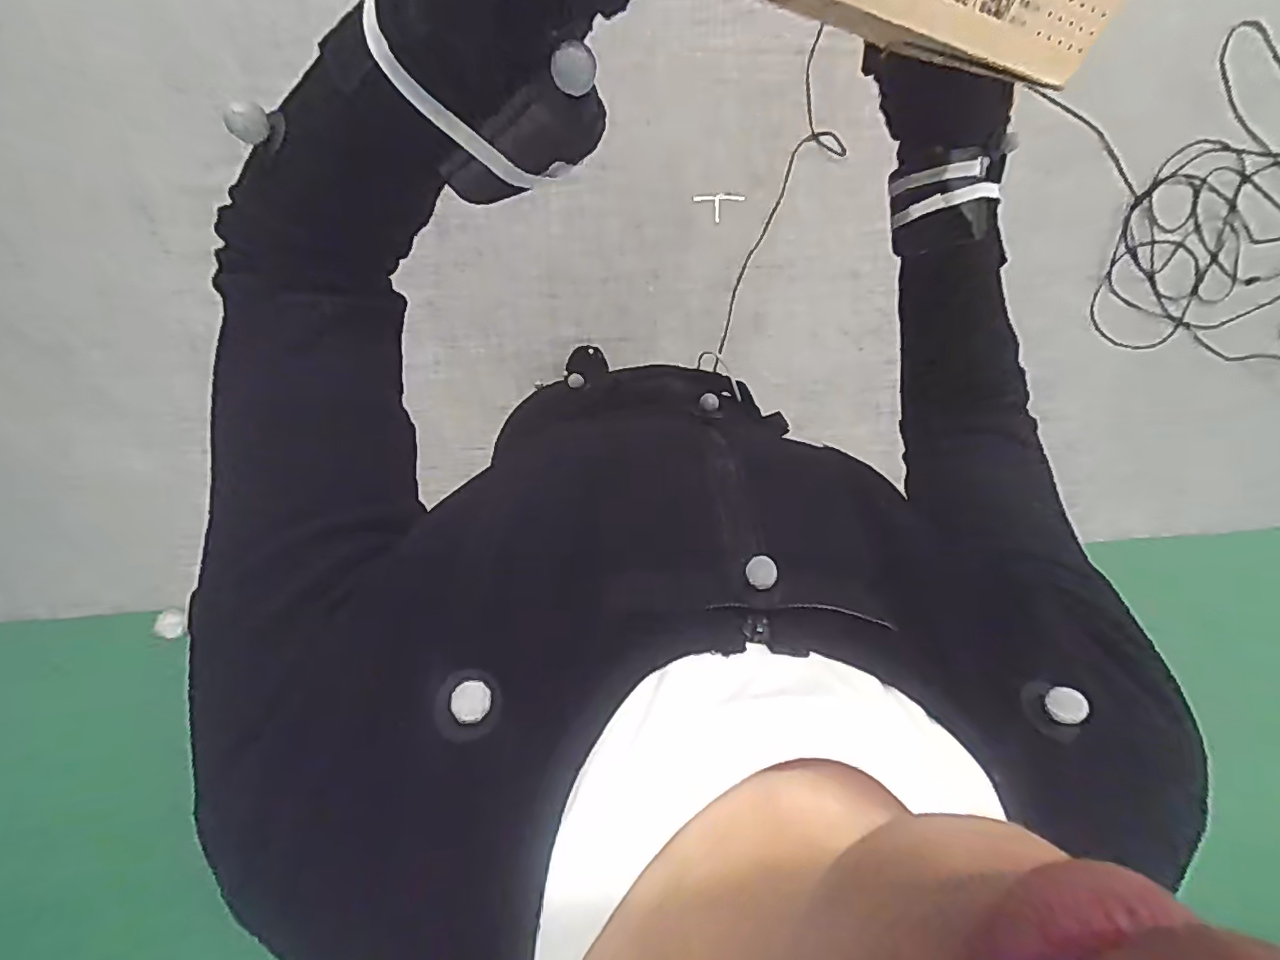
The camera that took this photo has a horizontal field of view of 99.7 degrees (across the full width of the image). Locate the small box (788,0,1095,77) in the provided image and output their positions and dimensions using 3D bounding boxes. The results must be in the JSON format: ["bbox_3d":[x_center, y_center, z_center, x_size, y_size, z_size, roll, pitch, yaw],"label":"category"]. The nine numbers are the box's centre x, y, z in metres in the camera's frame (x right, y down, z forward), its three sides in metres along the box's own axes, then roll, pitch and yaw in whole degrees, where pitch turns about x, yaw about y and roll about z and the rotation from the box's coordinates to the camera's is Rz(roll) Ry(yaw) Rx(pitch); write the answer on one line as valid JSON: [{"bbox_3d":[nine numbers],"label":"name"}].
[{"bbox_3d":[0.126,-0.312,0.239,0.168,0.179,0.176,5,133,-17],"label":"small box"}]
